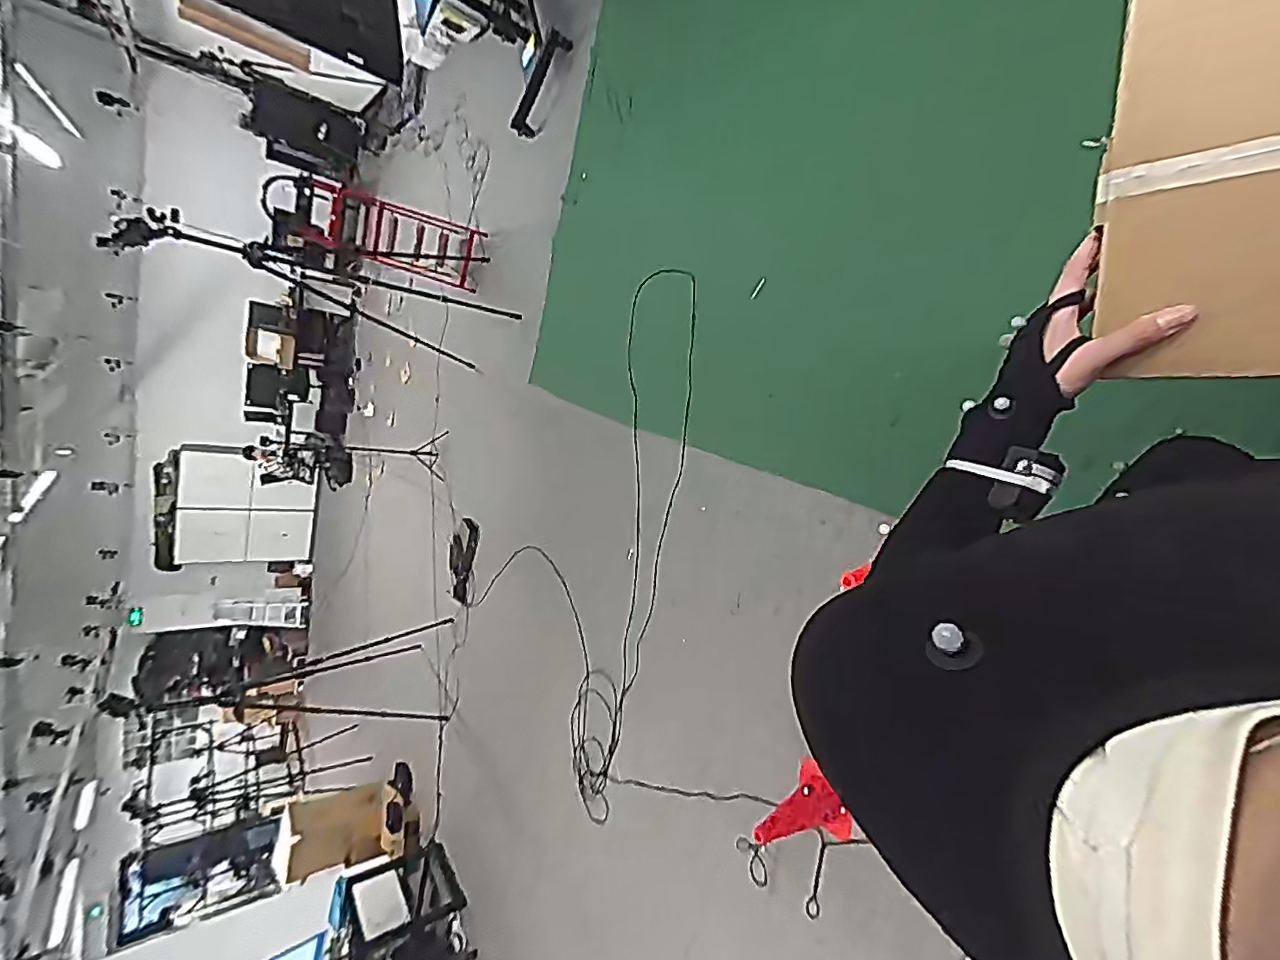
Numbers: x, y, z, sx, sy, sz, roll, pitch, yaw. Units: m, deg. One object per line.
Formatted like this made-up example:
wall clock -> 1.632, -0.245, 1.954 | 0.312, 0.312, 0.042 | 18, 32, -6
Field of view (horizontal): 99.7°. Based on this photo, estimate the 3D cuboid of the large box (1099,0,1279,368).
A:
large box -> 0.635, -0.264, 0.413 | 0.408, 0.320, 0.320 | 8, 110, 43
